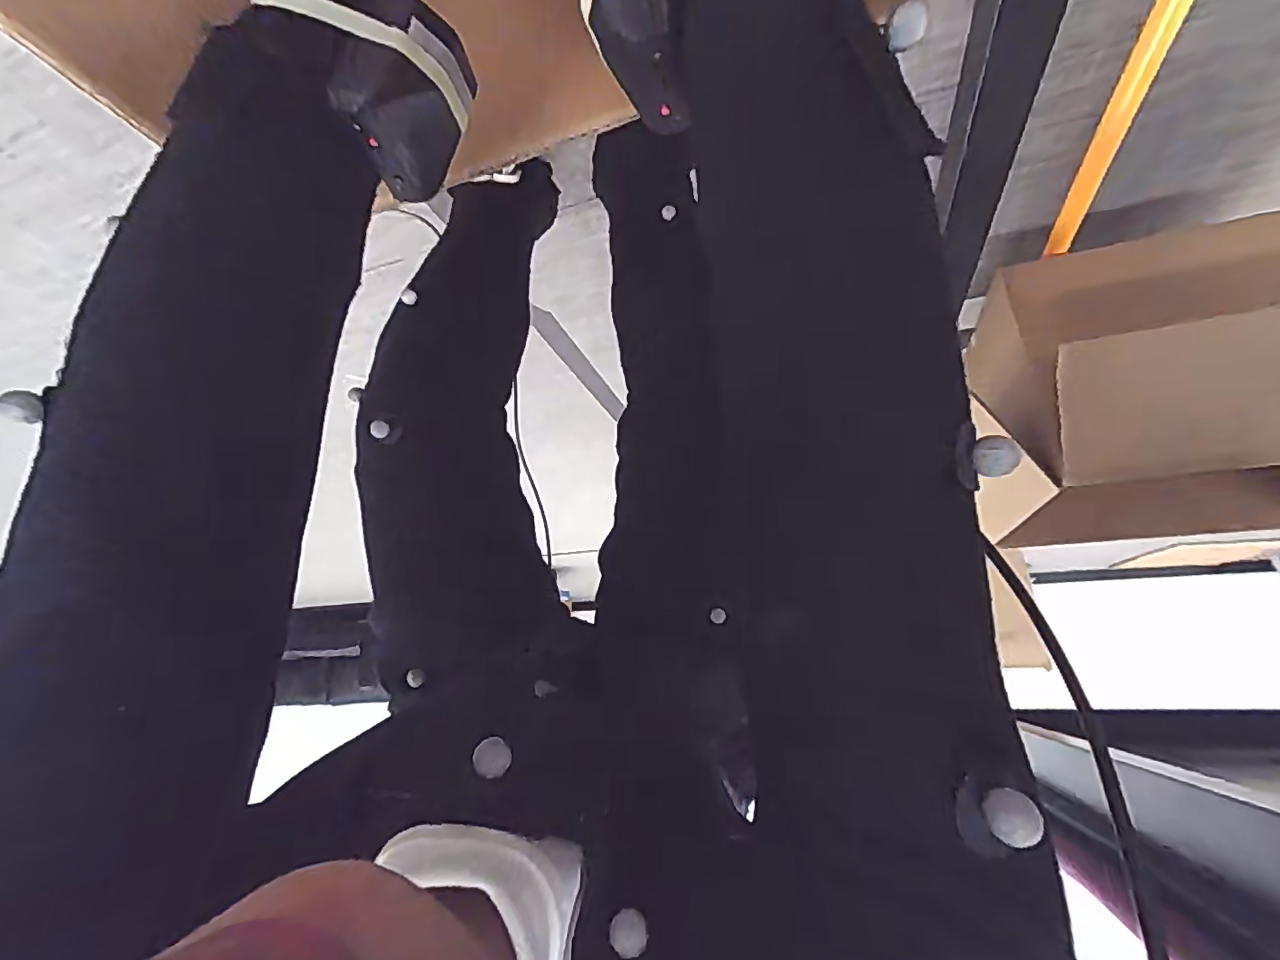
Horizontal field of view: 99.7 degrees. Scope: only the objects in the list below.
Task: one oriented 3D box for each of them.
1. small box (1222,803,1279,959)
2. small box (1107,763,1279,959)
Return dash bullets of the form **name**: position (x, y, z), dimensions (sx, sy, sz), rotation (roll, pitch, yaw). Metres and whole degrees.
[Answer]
- **small box**: position (0.615, 0.351, 0.398), dimensions (0.179, 0.176, 0.168), rotation (-7, 159, 15)
- **small box**: position (0.684, 0.426, 0.616), dimensions (0.168, 0.176, 0.179), rotation (-7, 159, 12)
